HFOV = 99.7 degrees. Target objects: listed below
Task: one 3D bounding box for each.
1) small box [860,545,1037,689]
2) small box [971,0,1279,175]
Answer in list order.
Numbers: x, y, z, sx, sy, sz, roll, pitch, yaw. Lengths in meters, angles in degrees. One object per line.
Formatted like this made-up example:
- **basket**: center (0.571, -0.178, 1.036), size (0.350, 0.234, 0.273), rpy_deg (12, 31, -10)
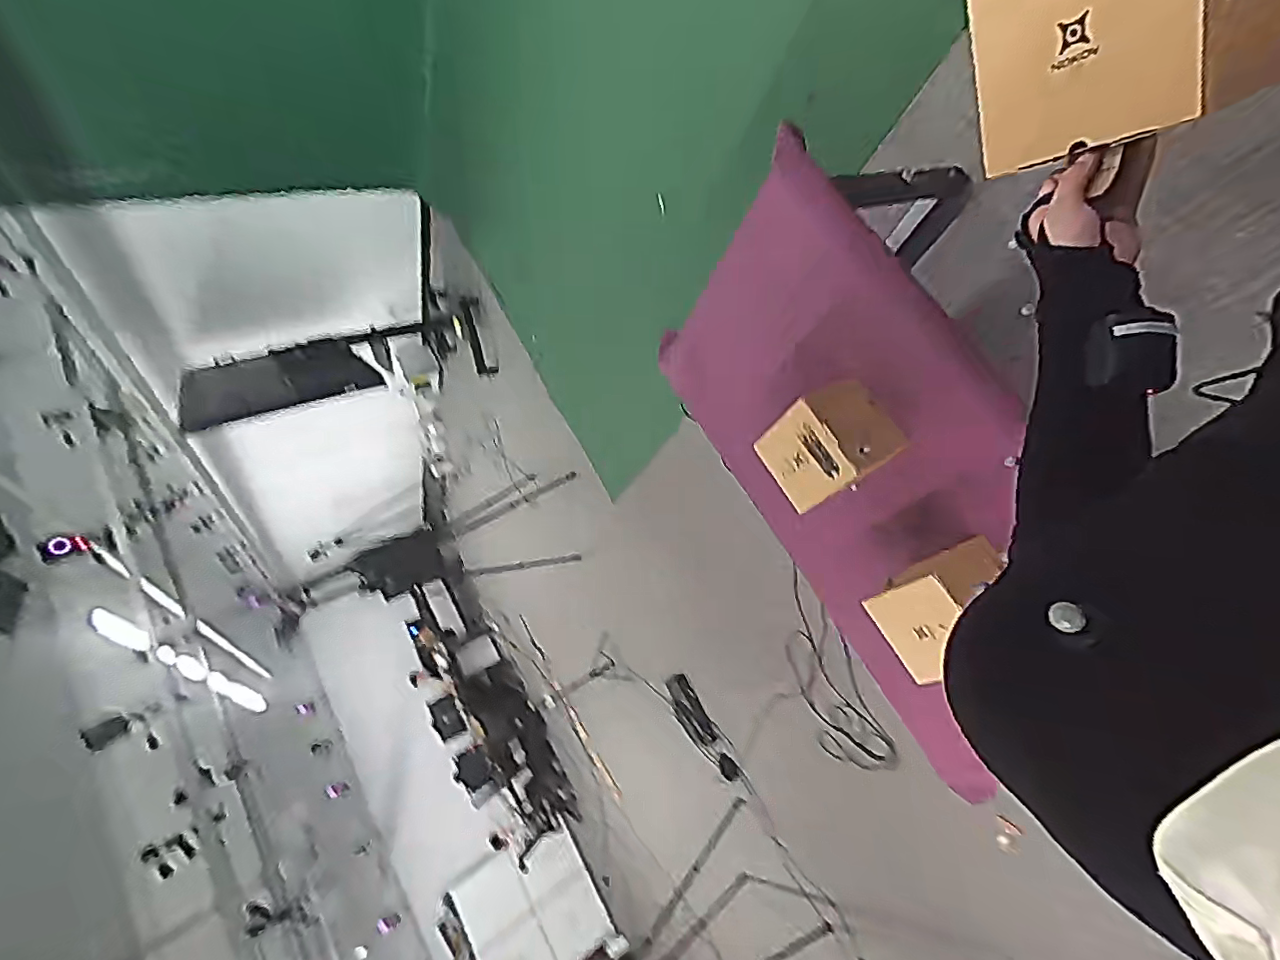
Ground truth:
- **small box**: center (0.536, 0.239, 0.947), size (0.168, 0.176, 0.179), rpy_deg (58, 148, 15)
- **small box**: center (0.421, -0.397, 0.461), size (0.168, 0.176, 0.179), rpy_deg (26, 142, 62)
